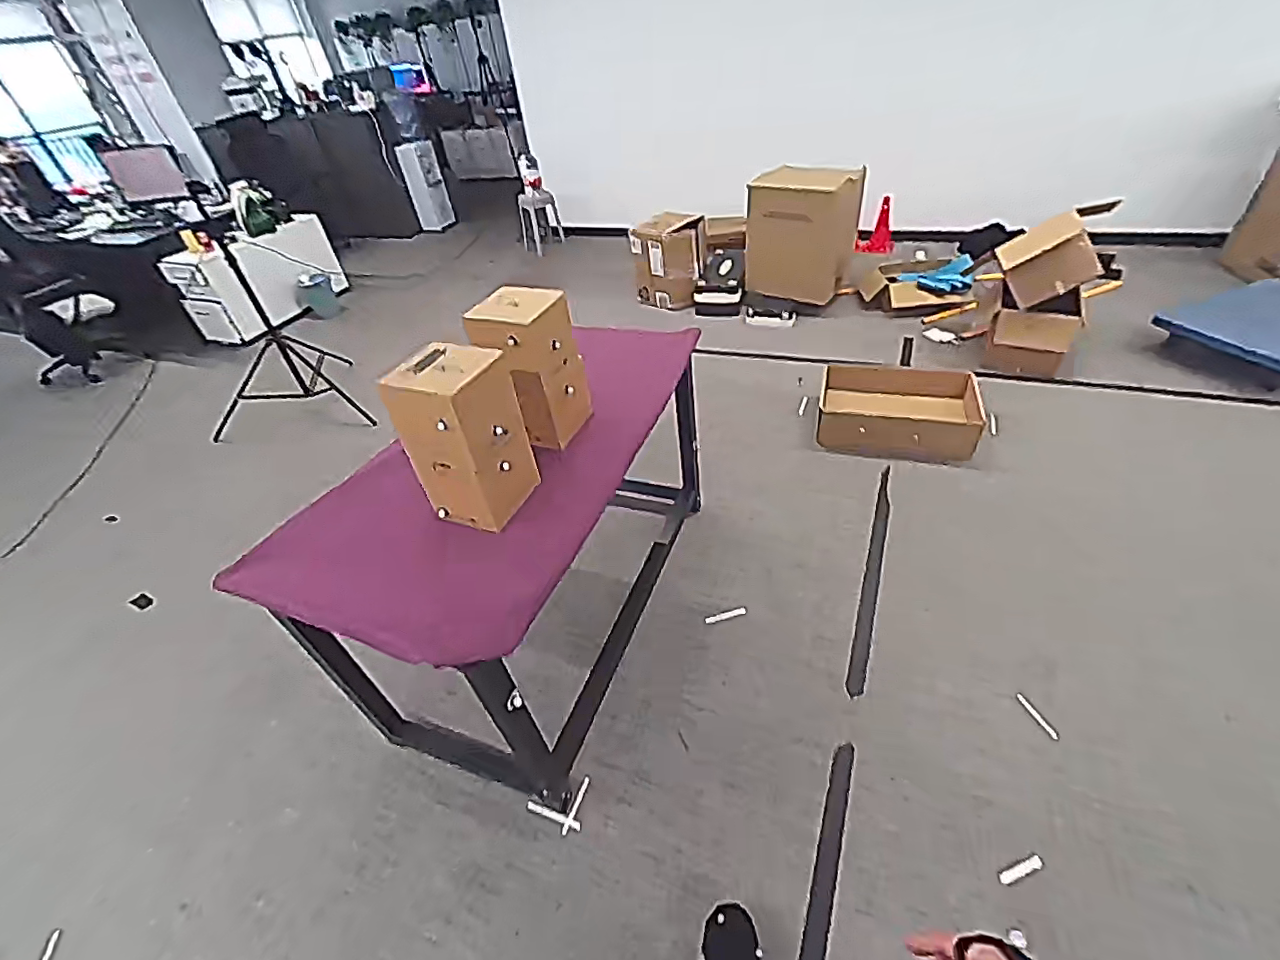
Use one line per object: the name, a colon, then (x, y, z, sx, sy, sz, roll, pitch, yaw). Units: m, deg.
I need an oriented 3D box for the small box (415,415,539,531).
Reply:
small box: (-0.336, -0.014, 1.156, 0.168, 0.176, 0.179, 11, 43, 21)

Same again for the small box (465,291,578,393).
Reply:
small box: (-0.262, -0.316, 1.245, 0.179, 0.176, 0.168, 11, 44, 22)

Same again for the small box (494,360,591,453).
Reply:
small box: (-0.234, -0.194, 1.353, 0.168, 0.176, 0.179, 11, 44, 22)
